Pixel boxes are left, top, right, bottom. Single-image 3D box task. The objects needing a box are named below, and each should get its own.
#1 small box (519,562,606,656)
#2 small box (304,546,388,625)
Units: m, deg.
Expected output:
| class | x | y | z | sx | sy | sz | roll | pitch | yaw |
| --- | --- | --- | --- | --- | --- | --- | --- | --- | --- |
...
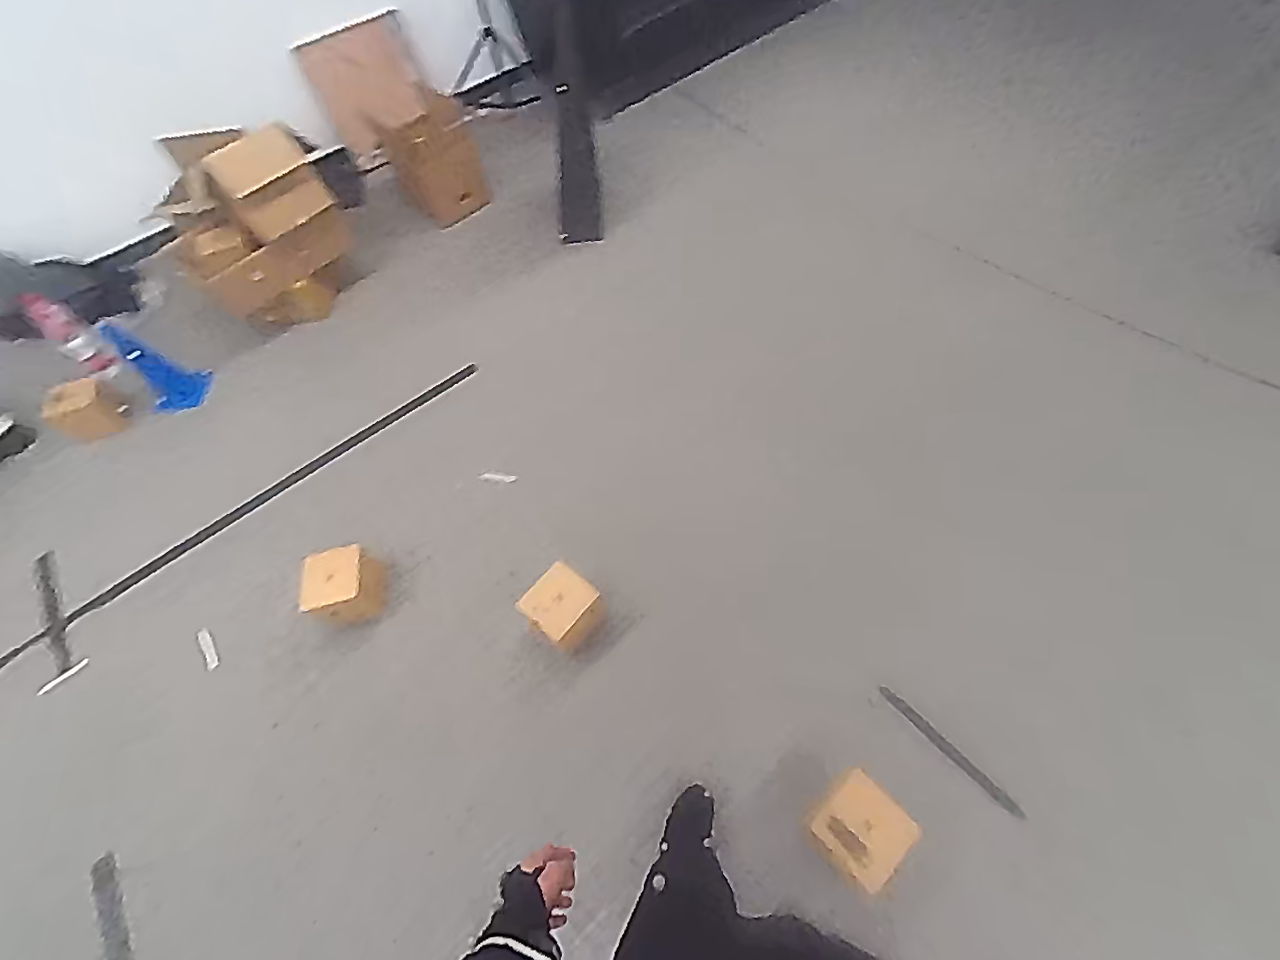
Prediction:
| class | x | y | z | sx | sy | sz | roll | pitch | yaw |
| --- | --- | --- | --- | --- | --- | --- | --- | --- | --- |
| small box | -0.213 | 0.373 | 1.551 | 0.168 | 0.176 | 0.179 | 34 | 68 | 23 |
| small box | -0.890 | 0.330 | 1.649 | 0.168 | 0.176 | 0.179 | -15 | 58 | -3 |
